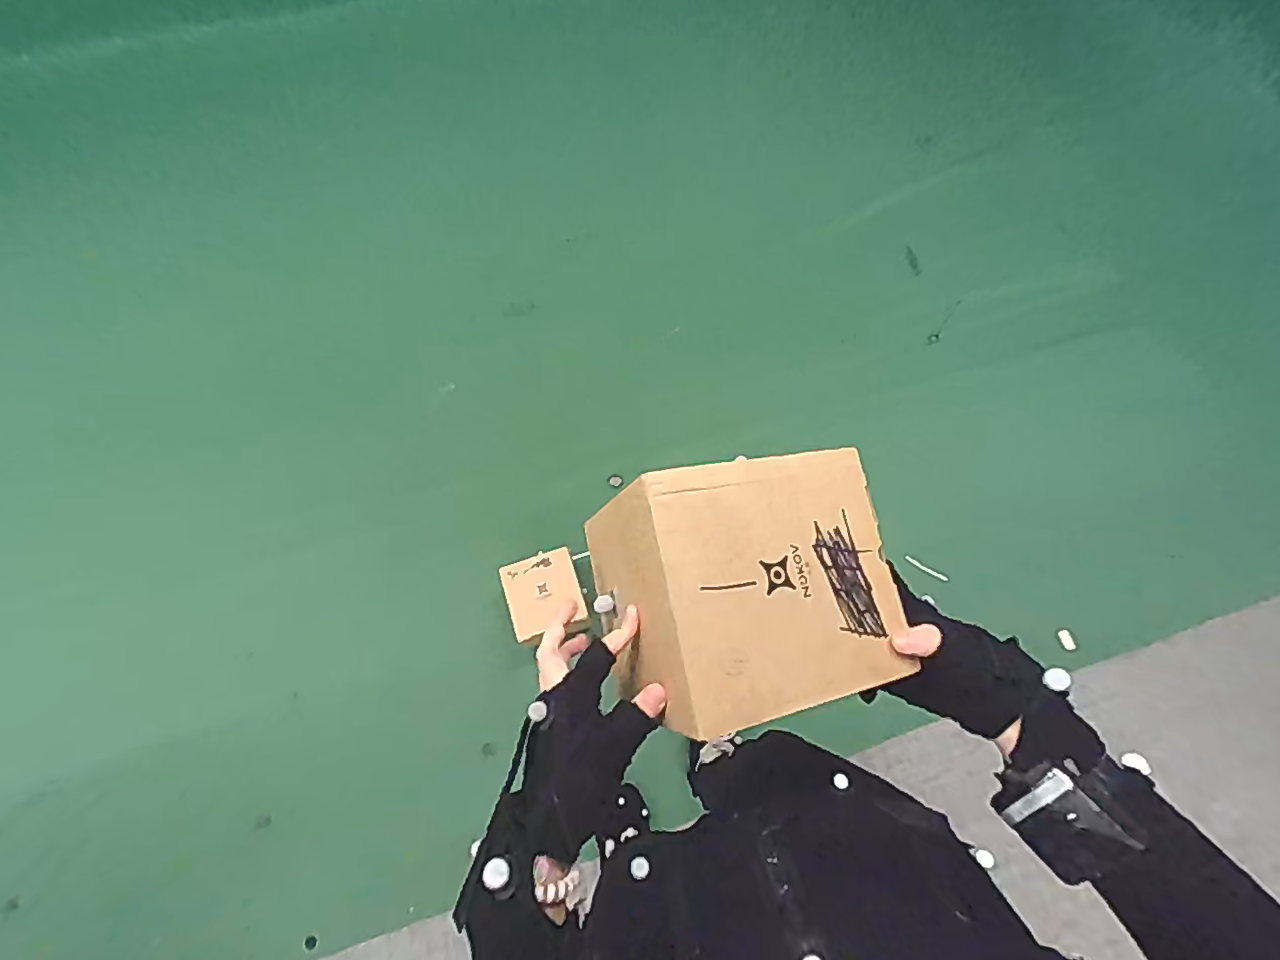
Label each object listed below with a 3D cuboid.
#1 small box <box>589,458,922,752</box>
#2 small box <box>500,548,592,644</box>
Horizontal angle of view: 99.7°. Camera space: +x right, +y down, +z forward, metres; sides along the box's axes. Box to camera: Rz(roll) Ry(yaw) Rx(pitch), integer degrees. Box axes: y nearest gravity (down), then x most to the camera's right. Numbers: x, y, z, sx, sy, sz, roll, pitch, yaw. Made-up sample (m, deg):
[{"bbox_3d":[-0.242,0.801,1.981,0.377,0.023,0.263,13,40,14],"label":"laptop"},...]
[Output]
[{"bbox_3d":[0.073,0.089,0.427,0.179,0.176,0.168,-7,77,-21],"label":"small box"},{"bbox_3d":[-0.217,0.282,1.291,0.168,0.176,0.179,-18,72,-8],"label":"small box"}]
